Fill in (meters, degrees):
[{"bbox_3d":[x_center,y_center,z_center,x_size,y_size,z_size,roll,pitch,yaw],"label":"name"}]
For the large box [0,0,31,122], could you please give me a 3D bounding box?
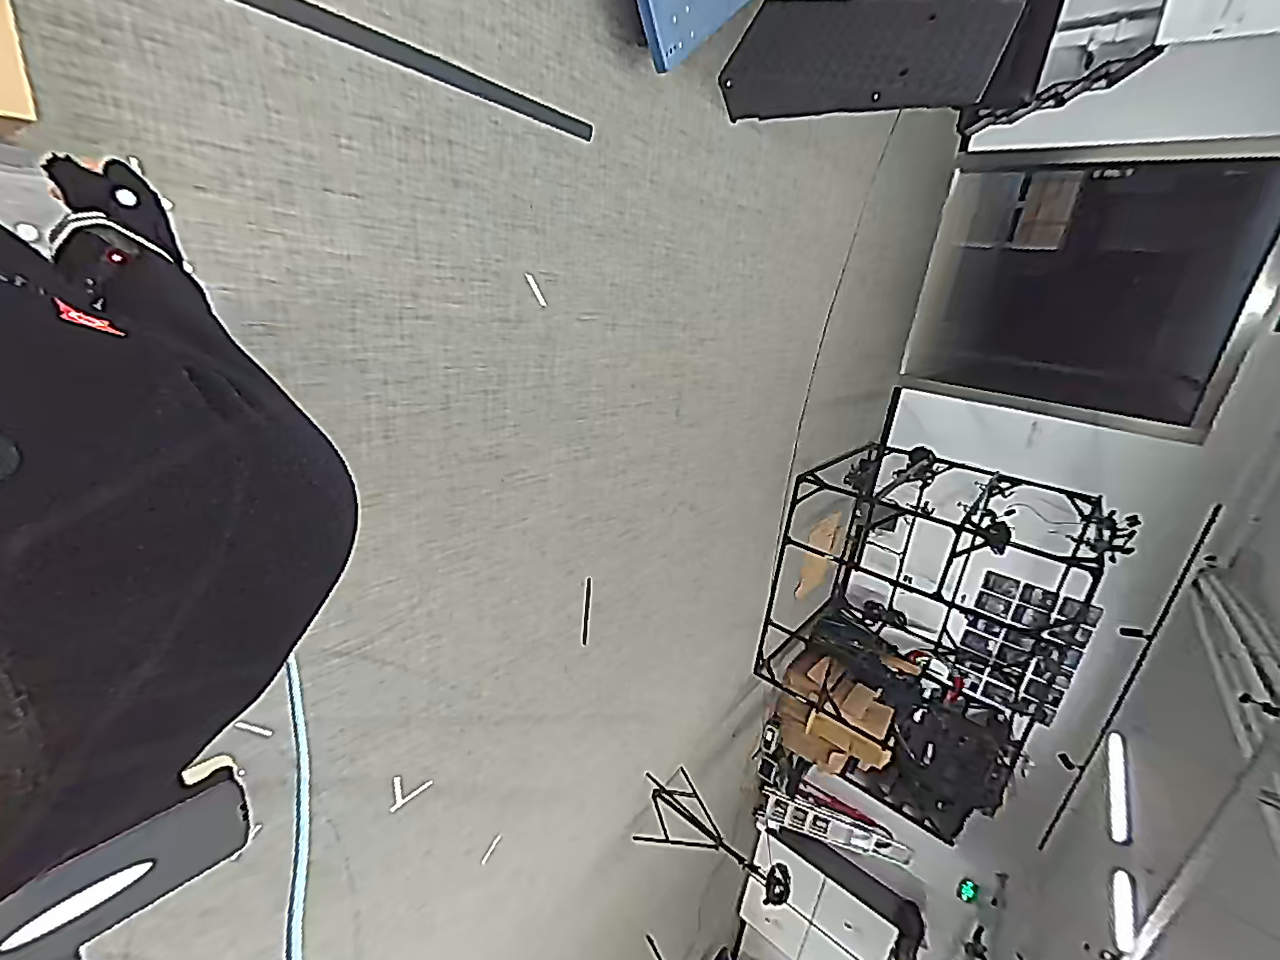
[{"bbox_3d":[-1.067,-0.646,0.624,0.408,0.320,0.320,-20,124,-50],"label":"large box"}]
